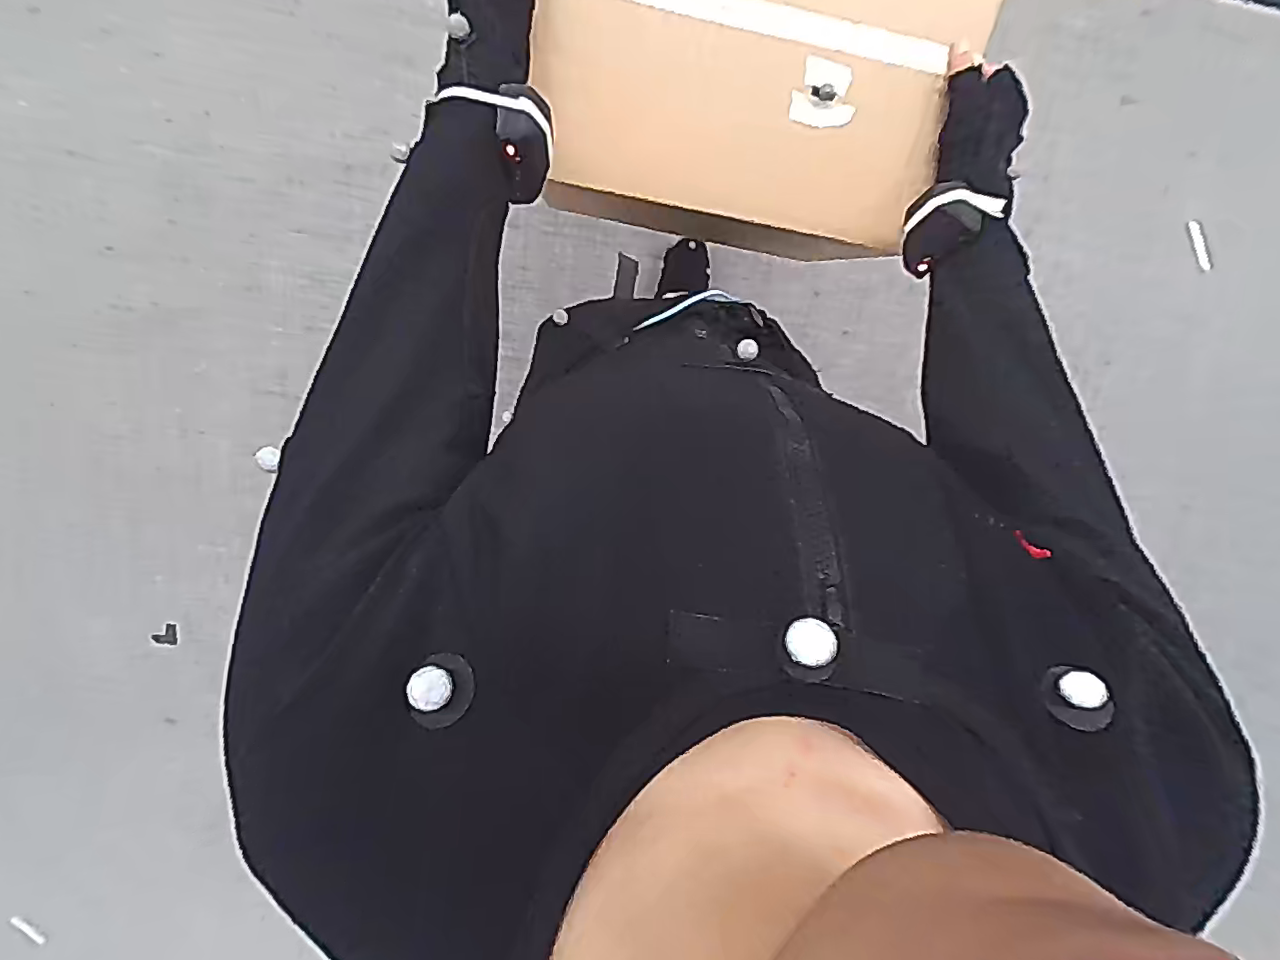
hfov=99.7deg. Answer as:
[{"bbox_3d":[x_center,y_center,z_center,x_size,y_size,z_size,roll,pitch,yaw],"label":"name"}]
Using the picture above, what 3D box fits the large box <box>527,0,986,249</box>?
[{"bbox_3d":[0.096,-0.466,0.621,0.408,0.320,0.320,7,111,-7],"label":"large box"}]
